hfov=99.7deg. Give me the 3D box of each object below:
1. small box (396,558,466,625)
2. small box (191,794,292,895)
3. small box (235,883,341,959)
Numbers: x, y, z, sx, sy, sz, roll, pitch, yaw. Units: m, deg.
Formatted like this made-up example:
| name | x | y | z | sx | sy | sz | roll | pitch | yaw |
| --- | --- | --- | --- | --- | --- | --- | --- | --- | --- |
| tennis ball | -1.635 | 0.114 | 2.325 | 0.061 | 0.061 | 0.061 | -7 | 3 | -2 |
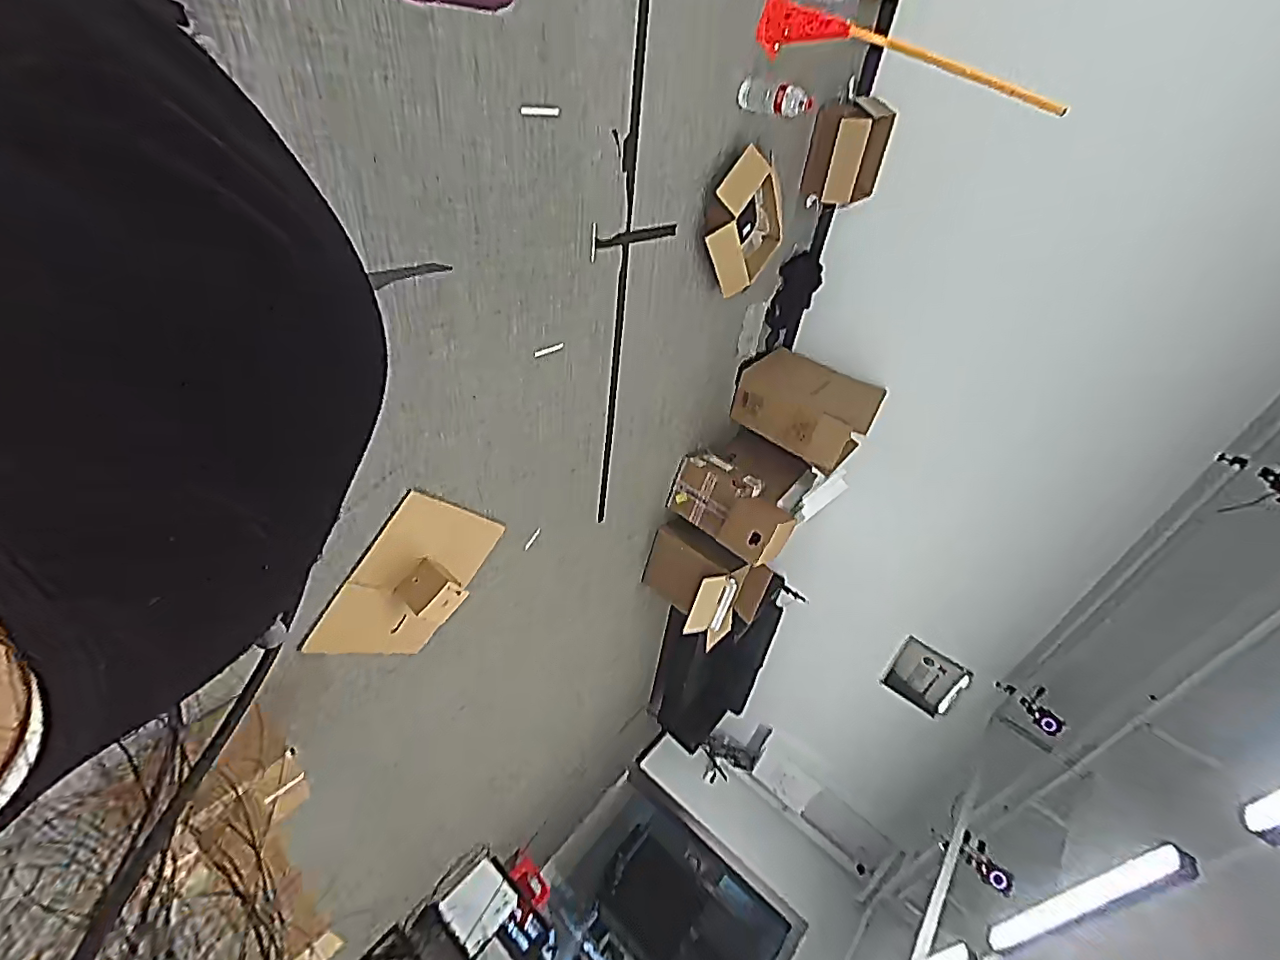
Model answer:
| name | x | y | z | sx | sy | sz | roll | pitch | yaw |
| --- | --- | --- | --- | --- | --- | --- | --- | --- | --- |
| small box | -0.852 | 0.451 | 2.186 | 0.179 | 0.176 | 0.168 | -48 | 153 | -12 |
| small box | -1.189 | 1.079 | 1.613 | 0.168 | 0.176 | 0.179 | -35 | 146 | -37 |
| small box | -0.946 | 1.241 | 1.460 | 0.168 | 0.176 | 0.179 | -34 | 145 | -39 |
